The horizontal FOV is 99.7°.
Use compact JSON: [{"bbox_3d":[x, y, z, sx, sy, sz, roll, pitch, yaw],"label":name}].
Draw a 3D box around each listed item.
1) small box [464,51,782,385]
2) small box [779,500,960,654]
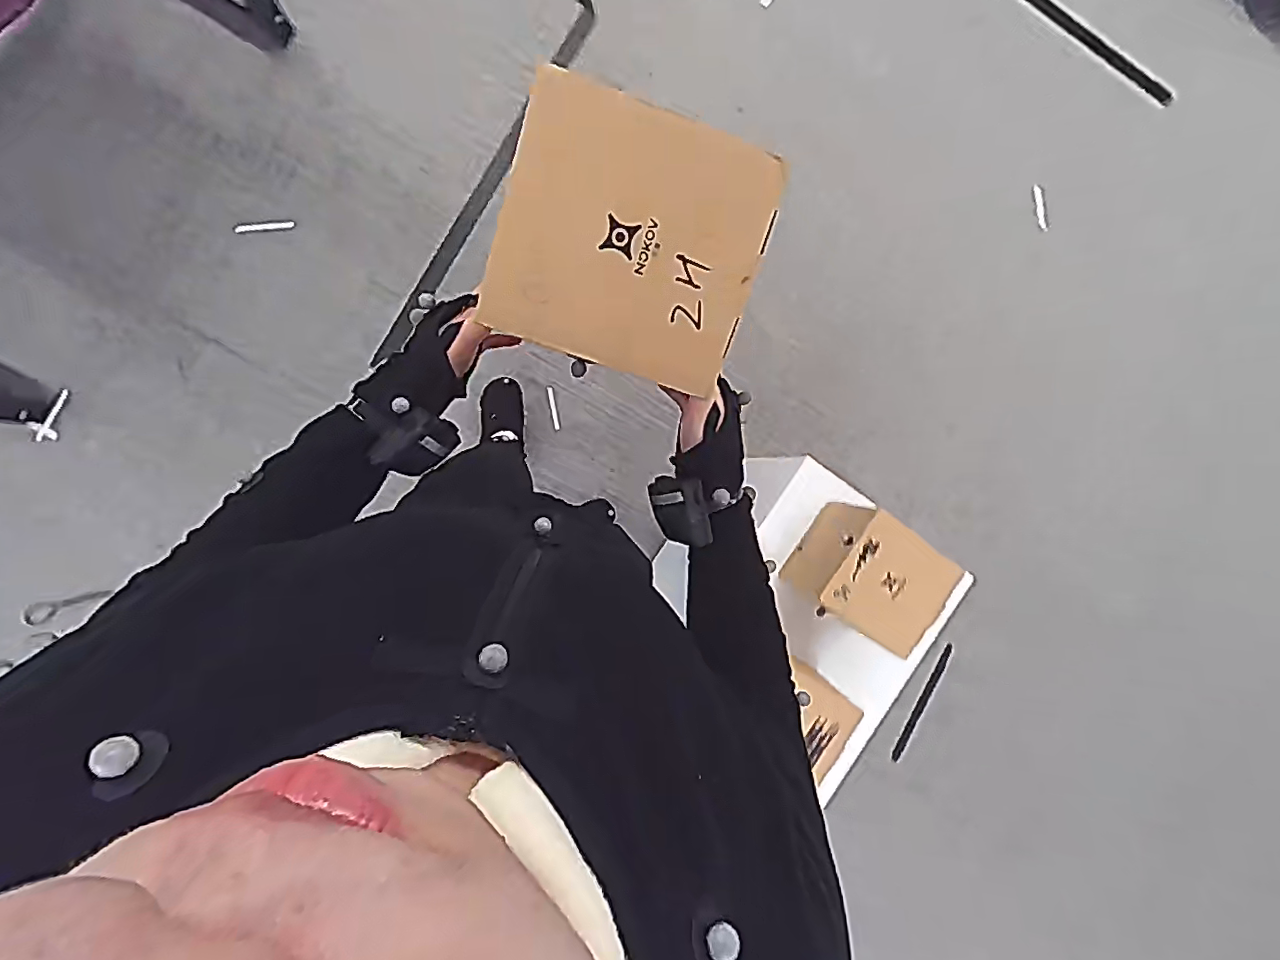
[{"bbox_3d":[-0.018,-0.185,0.436,0.179,0.176,0.168,16,103,-8],"label":"small box"},{"bbox_3d":[0.365,0.145,0.888,0.179,0.176,0.168,36,88,-8],"label":"small box"}]
